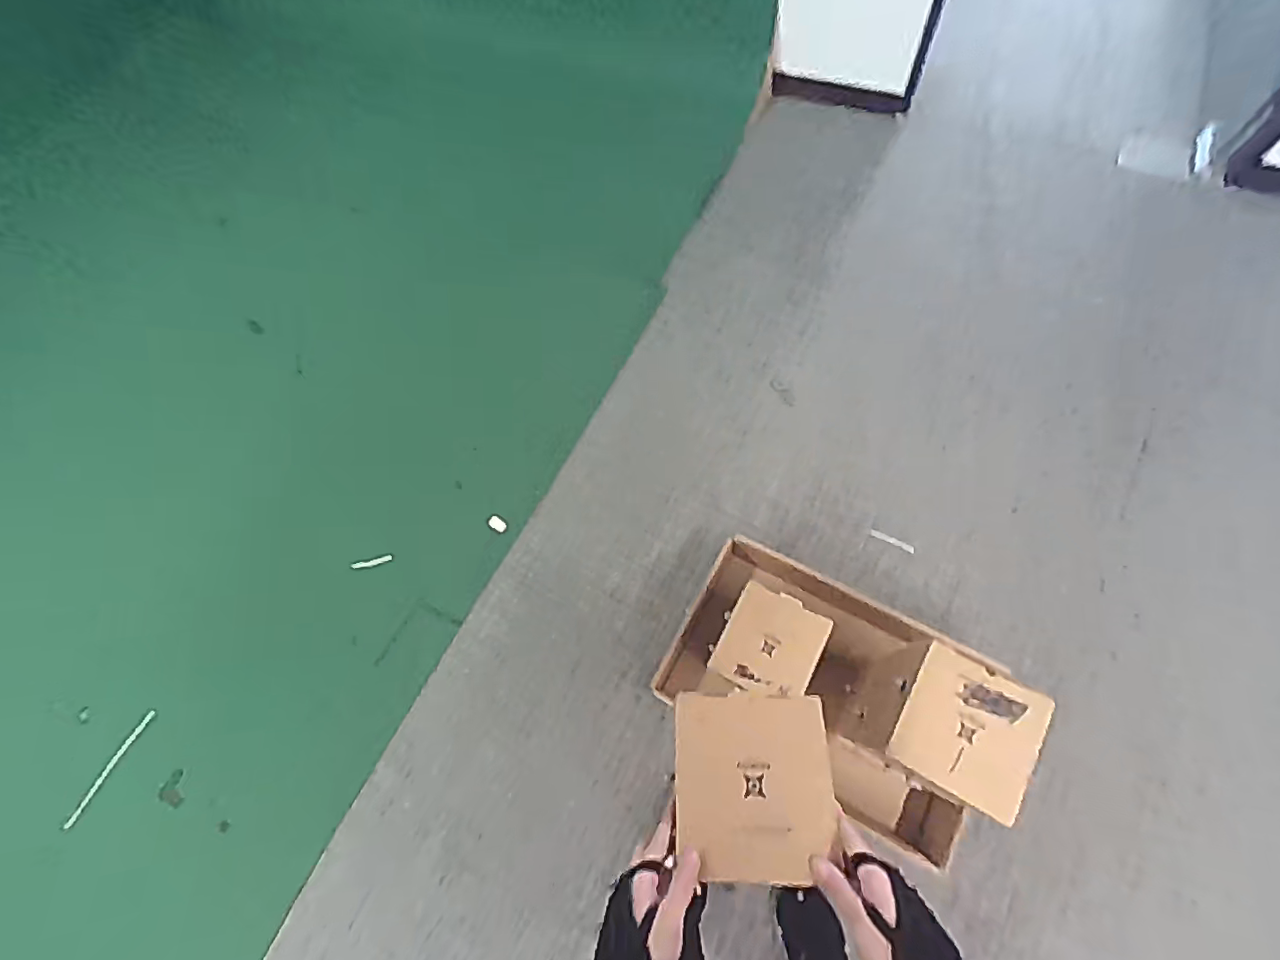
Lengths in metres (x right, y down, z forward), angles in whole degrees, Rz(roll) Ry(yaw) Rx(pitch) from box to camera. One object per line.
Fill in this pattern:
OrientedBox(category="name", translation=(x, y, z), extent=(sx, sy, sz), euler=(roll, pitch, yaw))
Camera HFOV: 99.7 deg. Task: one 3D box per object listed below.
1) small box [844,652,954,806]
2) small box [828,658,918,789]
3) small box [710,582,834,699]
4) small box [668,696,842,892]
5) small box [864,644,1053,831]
OrientedBox(category="small box", translation=(0.478, 0.429, 0.953), extent=(0.168, 0.176, 0.179), euler=(28, 75, 18))
OrientedBox(category="small box", translation=(0.501, 0.490, 1.105), extent=(0.168, 0.176, 0.179), euler=(28, 75, 18))
OrientedBox(category="small box", translation=(0.242, 0.320, 1.027), extent=(0.168, 0.176, 0.179), euler=(26, 75, 17))
OrientedBox(category="small box", translation=(0.117, 0.363, 0.631), extent=(0.168, 0.176, 0.179), euler=(0, 57, 2))
OrientedBox(category="small box", translation=(0.456, 0.367, 0.802), extent=(0.168, 0.176, 0.179), euler=(27, 76, 19))
